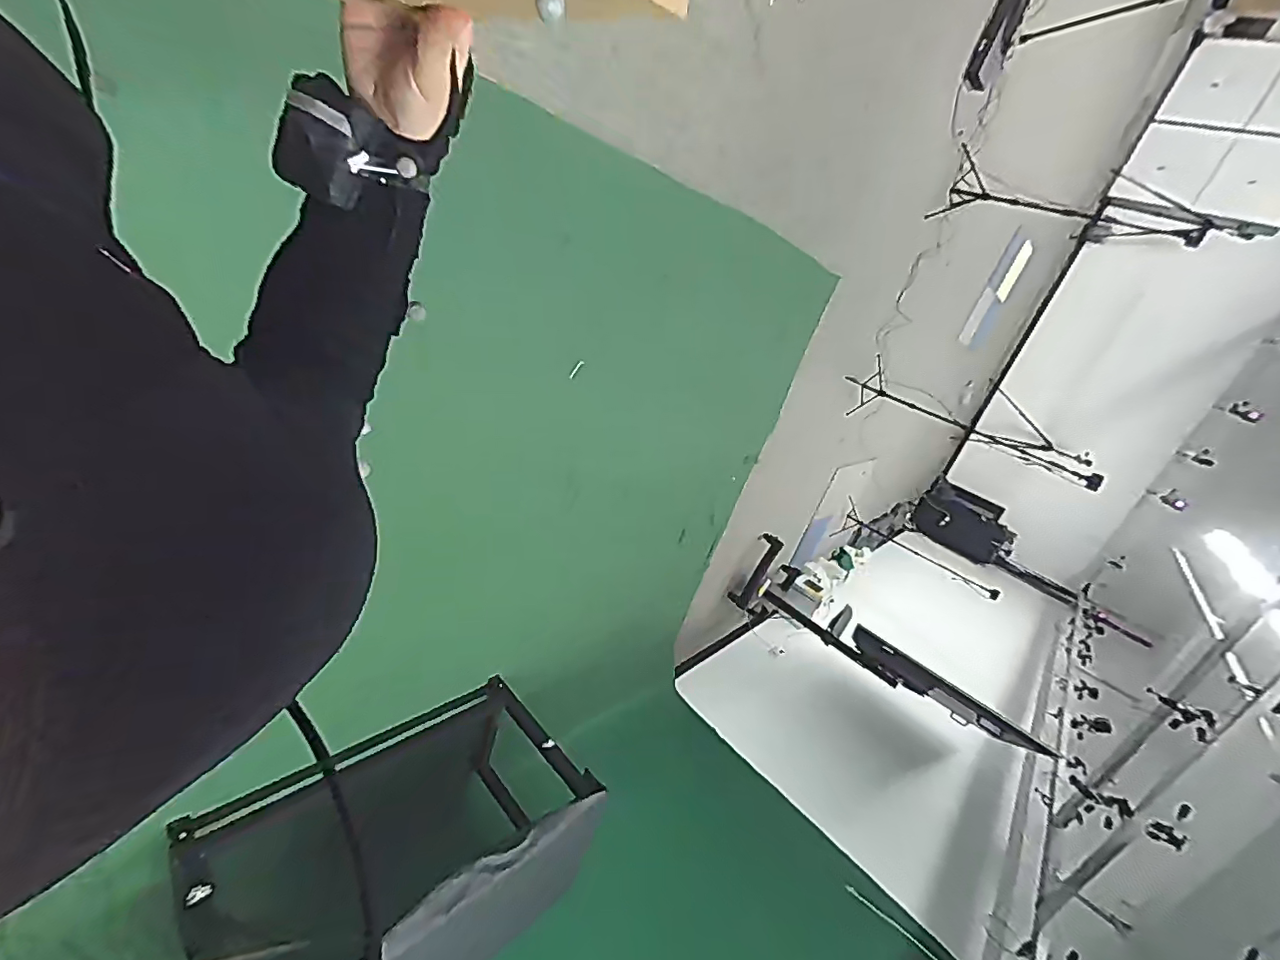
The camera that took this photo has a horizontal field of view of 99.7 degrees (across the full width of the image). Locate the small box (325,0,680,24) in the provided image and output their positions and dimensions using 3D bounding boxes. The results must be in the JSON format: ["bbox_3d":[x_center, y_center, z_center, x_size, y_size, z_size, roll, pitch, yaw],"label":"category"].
[{"bbox_3d":[-0.083,-0.294,0.198,0.168,0.176,0.179,-51,150,-51],"label":"small box"}]
